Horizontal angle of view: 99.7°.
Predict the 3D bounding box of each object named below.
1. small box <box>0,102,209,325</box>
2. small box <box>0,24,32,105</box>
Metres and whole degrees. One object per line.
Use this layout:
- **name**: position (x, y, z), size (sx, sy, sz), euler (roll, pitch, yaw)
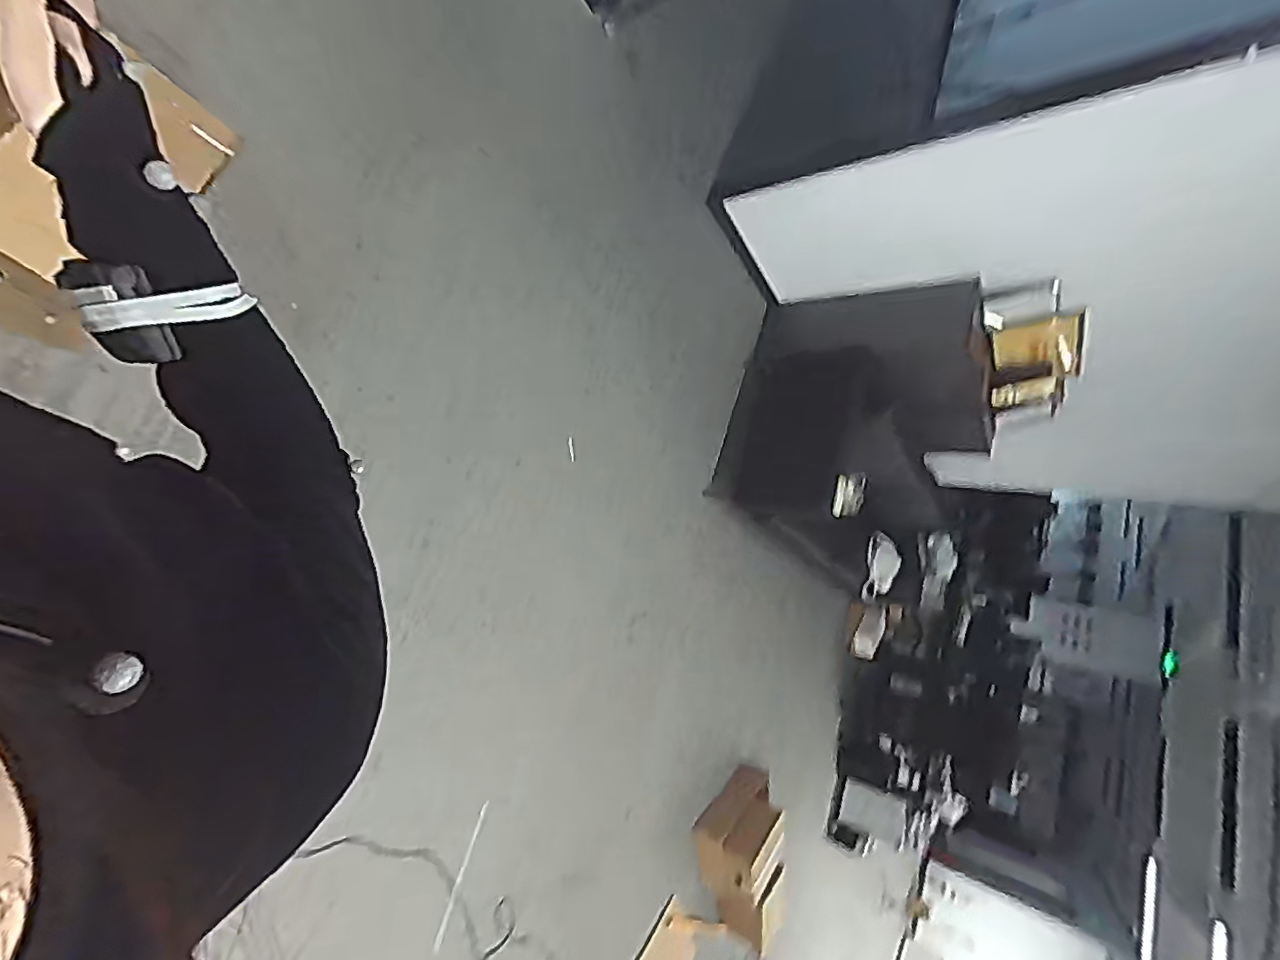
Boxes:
- **small box**: position (-0.702, -0.317, 0.676), size (0.168, 0.176, 0.179), euler (47, 59, -44)
- **small box**: position (-0.910, -0.536, 0.655), size (0.179, 0.176, 0.168), euler (34, 67, -48)
